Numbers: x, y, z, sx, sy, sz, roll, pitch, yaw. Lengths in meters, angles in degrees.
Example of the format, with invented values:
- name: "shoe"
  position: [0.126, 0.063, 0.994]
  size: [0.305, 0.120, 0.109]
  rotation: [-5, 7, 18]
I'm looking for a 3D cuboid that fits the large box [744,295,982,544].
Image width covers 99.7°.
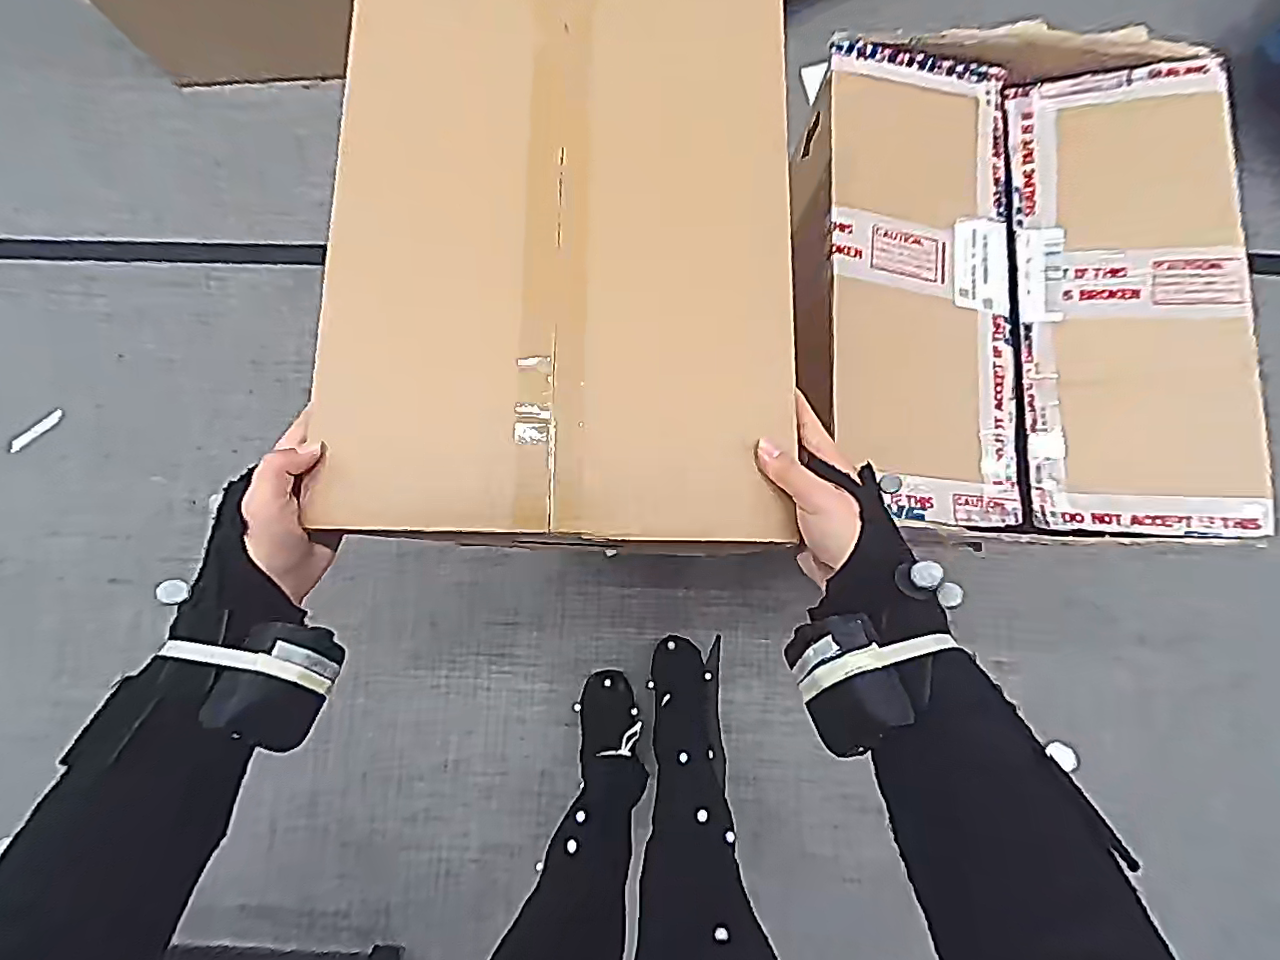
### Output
- name: "large box"
  position: [0.377, -0.088, 1.003]
  size: [0.320, 0.320, 0.408]
  rotation: [1, 84, 1]
